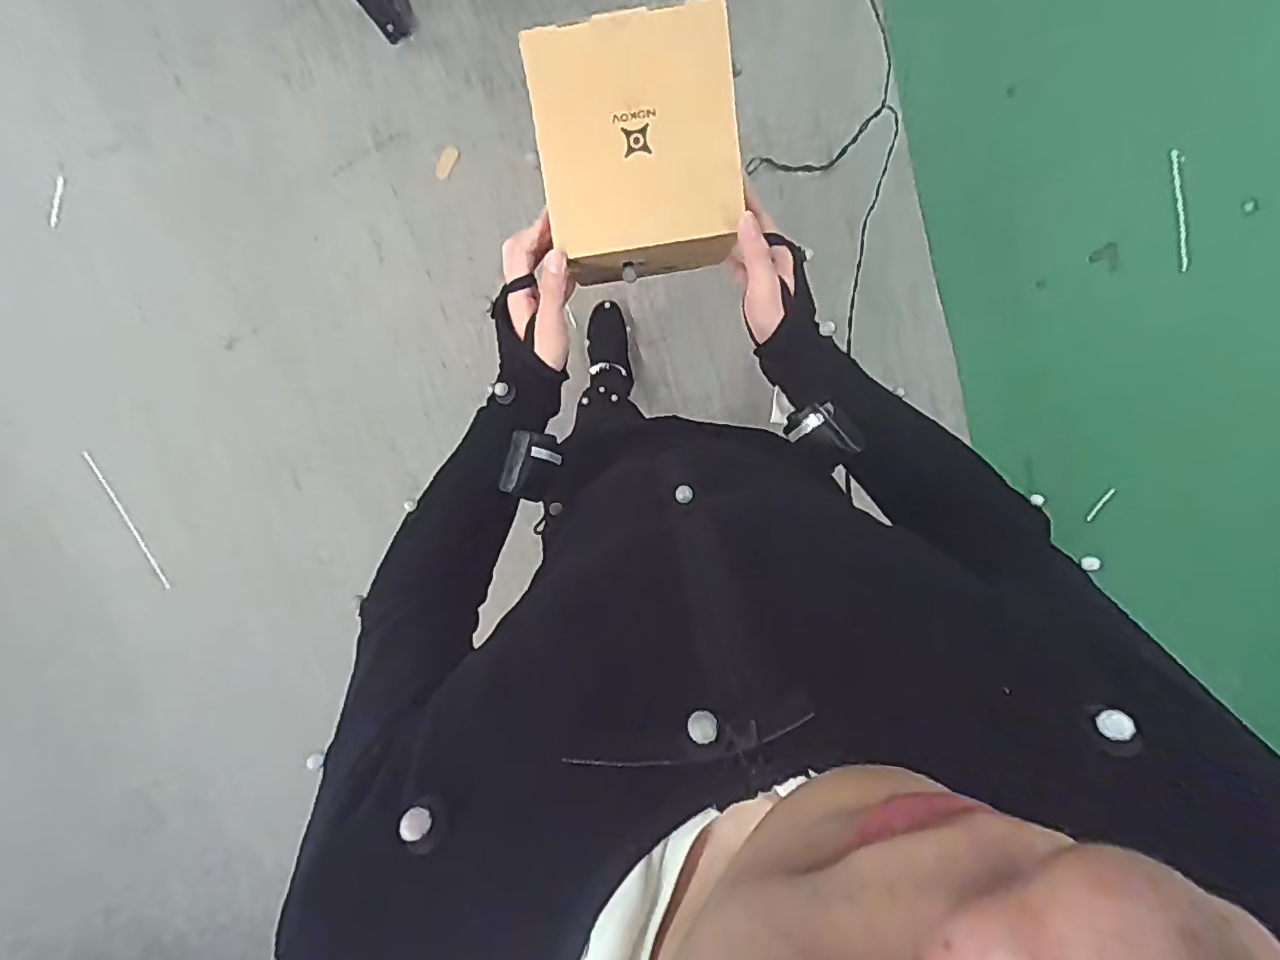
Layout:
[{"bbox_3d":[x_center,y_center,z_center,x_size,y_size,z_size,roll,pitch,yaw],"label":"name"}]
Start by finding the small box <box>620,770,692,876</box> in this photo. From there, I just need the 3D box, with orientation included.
[{"bbox_3d":[0.040,0.897,1.432,0.168,0.176,0.179,-9,101,3],"label":"small box"}]

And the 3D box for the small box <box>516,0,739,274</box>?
[{"bbox_3d":[-0.004,-0.303,0.514,0.168,0.176,0.179,-7,101,3],"label":"small box"}]
